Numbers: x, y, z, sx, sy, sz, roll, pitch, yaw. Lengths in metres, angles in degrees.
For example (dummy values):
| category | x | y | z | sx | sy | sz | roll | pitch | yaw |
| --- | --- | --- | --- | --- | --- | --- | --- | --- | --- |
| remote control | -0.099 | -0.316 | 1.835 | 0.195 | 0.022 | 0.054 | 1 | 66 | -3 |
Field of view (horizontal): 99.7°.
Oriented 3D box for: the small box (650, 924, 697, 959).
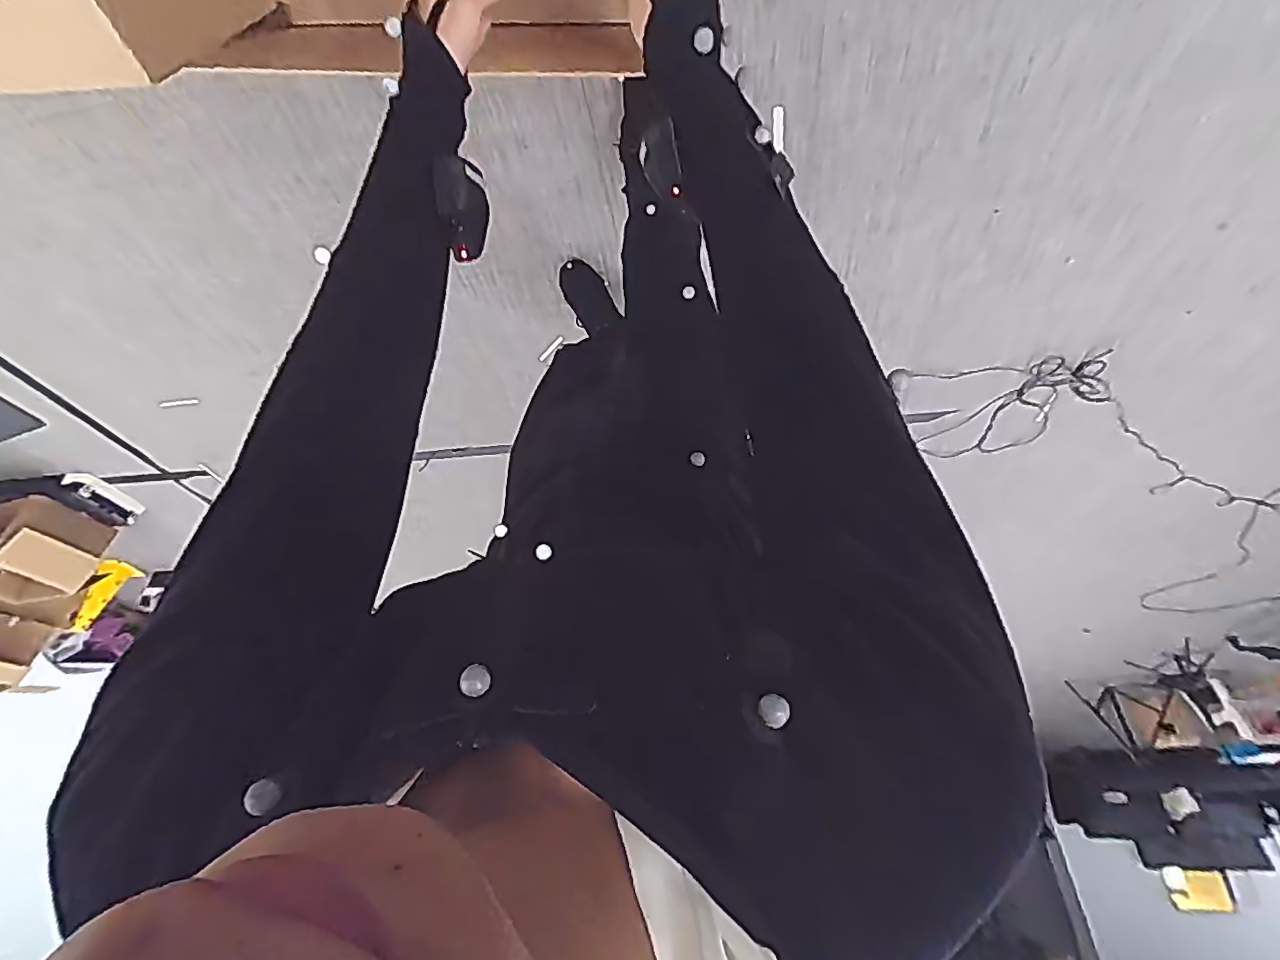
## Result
| category | x | y | z | sx | sy | sz | roll | pitch | yaw |
| --- | --- | --- | --- | --- | --- | --- | --- | --- | --- |
| small box | 0.134 | 1.880 | 2.147 | 0.179 | 0.176 | 0.168 | -4 | 144 | 10 |

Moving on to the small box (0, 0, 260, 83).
| category | x | y | z | sx | sy | sz | roll | pitch | yaw |
| --- | --- | --- | --- | --- | --- | --- | --- | --- | --- |
| small box | -0.359 | -0.341 | 0.287 | 0.168 | 0.176 | 0.179 | 0 | 143 | 3 |

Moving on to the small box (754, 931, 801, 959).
| category | x | y | z | sx | sy | sz | roll | pitch | yaw |
| --- | --- | --- | --- | --- | --- | --- | --- | --- | --- |
| small box | 0.533 | 1.844 | 2.072 | 0.168 | 0.176 | 0.179 | -6 | 144 | 12 |
